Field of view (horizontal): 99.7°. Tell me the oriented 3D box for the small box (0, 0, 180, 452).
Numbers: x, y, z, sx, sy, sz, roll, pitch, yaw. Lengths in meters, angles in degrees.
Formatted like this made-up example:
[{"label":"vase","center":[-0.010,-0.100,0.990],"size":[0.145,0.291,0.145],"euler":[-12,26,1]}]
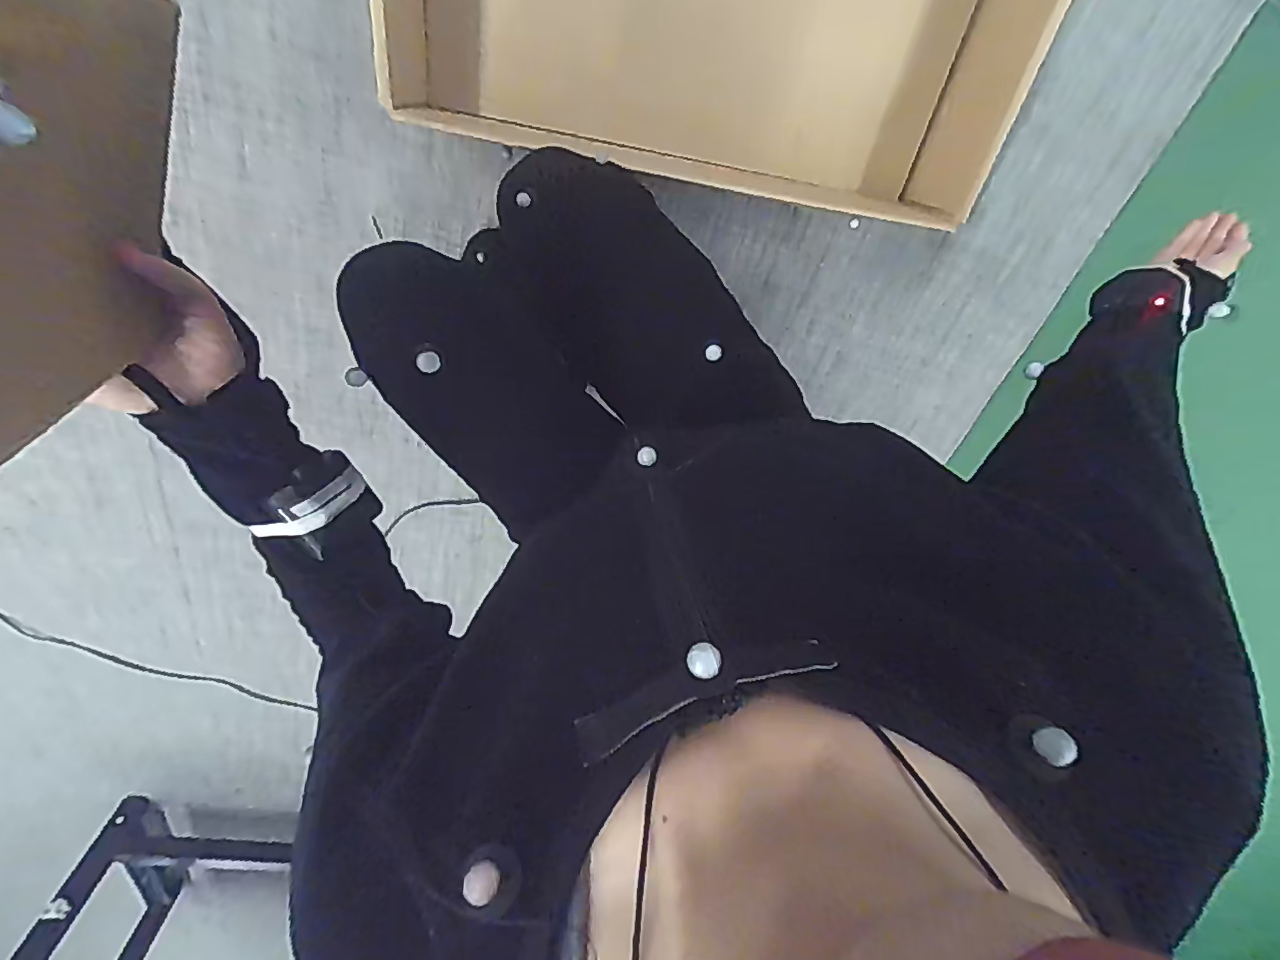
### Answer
[{"label":"small box","center":[-0.296,-0.115,0.184],"size":[0.168,0.176,0.179],"euler":[17,117,-26]}]
